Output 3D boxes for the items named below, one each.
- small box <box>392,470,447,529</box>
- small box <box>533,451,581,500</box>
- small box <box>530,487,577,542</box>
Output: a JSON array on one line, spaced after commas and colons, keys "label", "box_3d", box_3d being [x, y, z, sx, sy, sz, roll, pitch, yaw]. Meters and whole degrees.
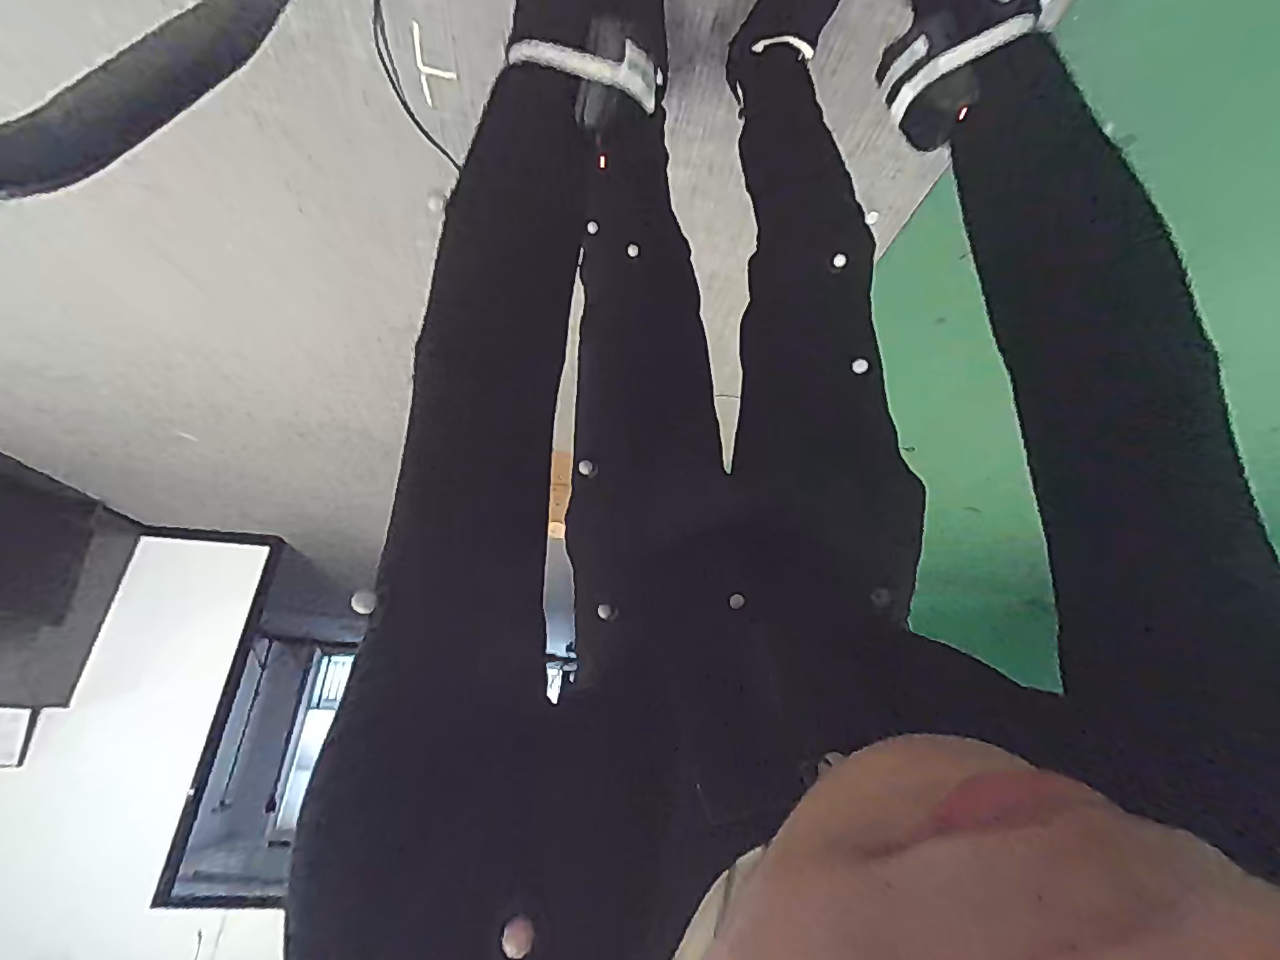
[{"label": "small box", "box_3d": [-0.868, 0.077, 2.141, 0.168, 0.176, 0.179, 10, 154, -13]}, {"label": "small box", "box_3d": [-0.351, -0.007, 2.290, 0.179, 0.176, 0.168, 9, 154, -13]}, {"label": "small box", "box_3d": [-0.353, 0.140, 2.219, 0.168, 0.176, 0.179, 9, 153, -12]}]
